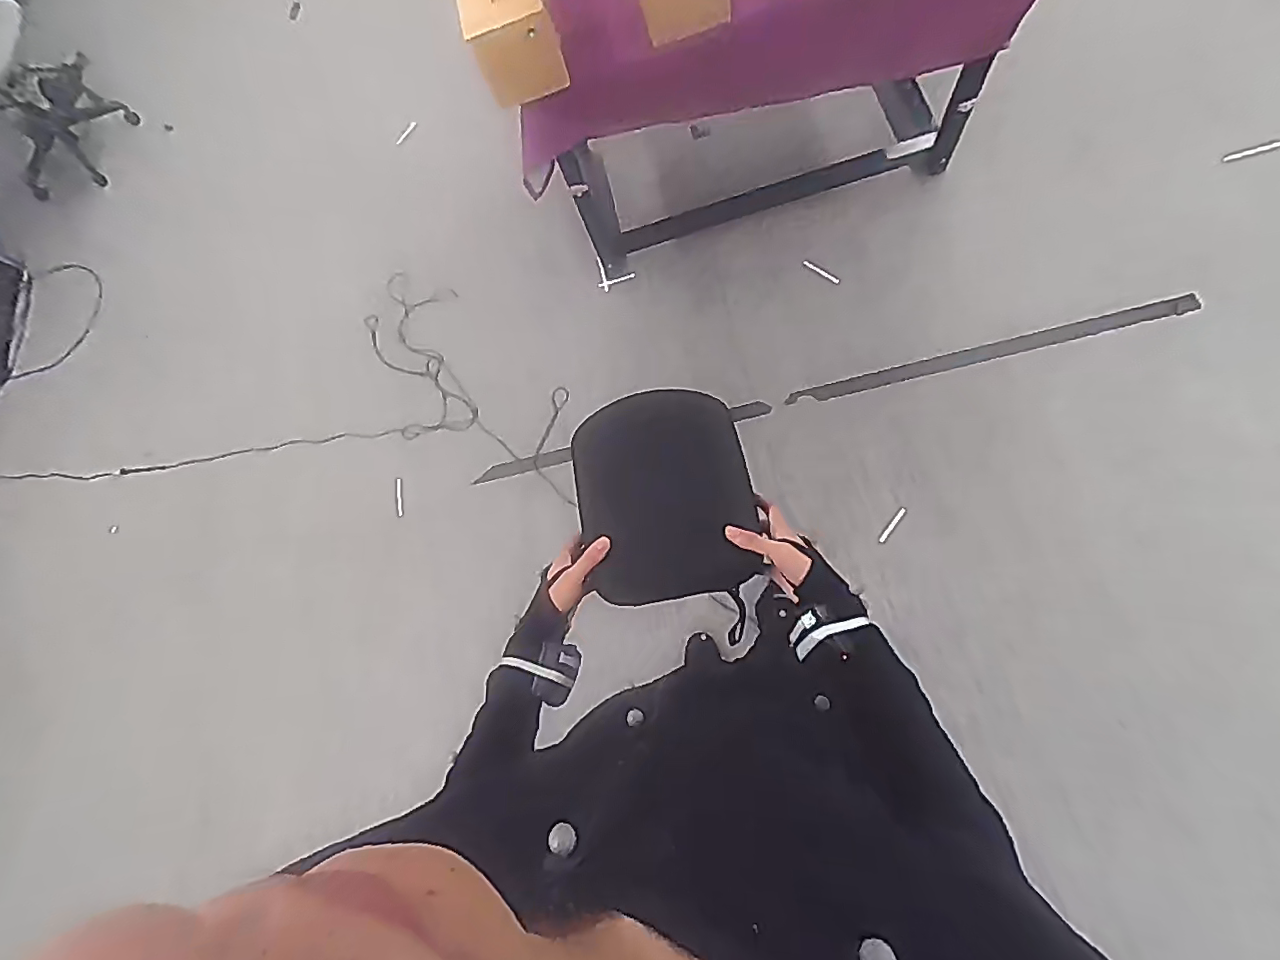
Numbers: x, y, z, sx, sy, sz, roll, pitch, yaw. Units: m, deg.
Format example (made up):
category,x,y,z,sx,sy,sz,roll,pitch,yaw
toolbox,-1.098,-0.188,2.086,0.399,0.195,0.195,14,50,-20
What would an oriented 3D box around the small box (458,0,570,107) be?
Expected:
category,x,y,z,sx,sy,sz,roll,pitch,yaw
small box,-0.273,-0.967,1.184,0.179,0.176,0.168,-16,73,7
